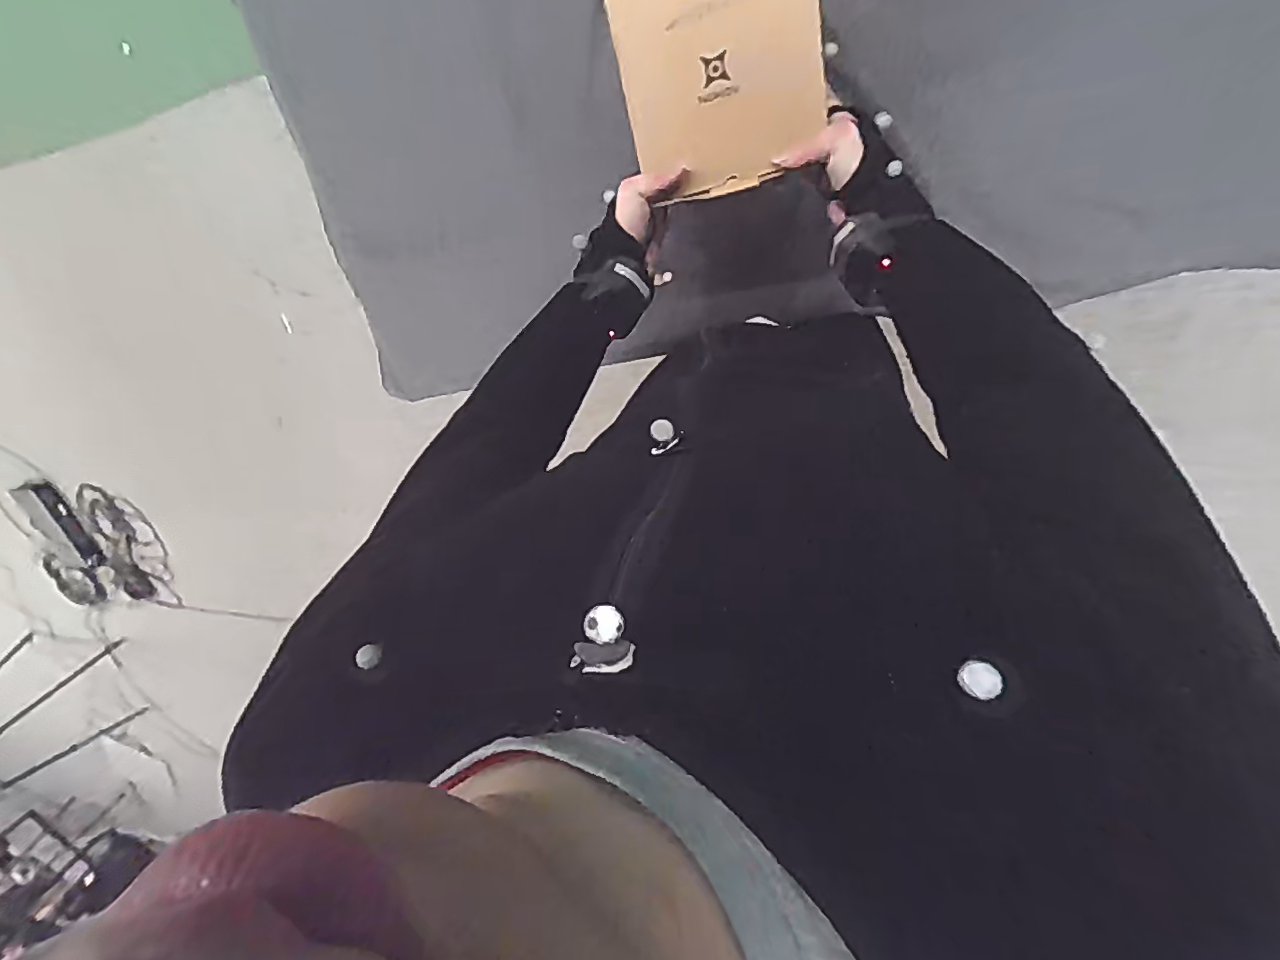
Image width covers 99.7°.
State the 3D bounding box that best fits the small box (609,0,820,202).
[{"bbox_3d":[0.082,-0.386,0.527,0.168,0.176,0.179,-5,116,15],"label":"small box"}]
